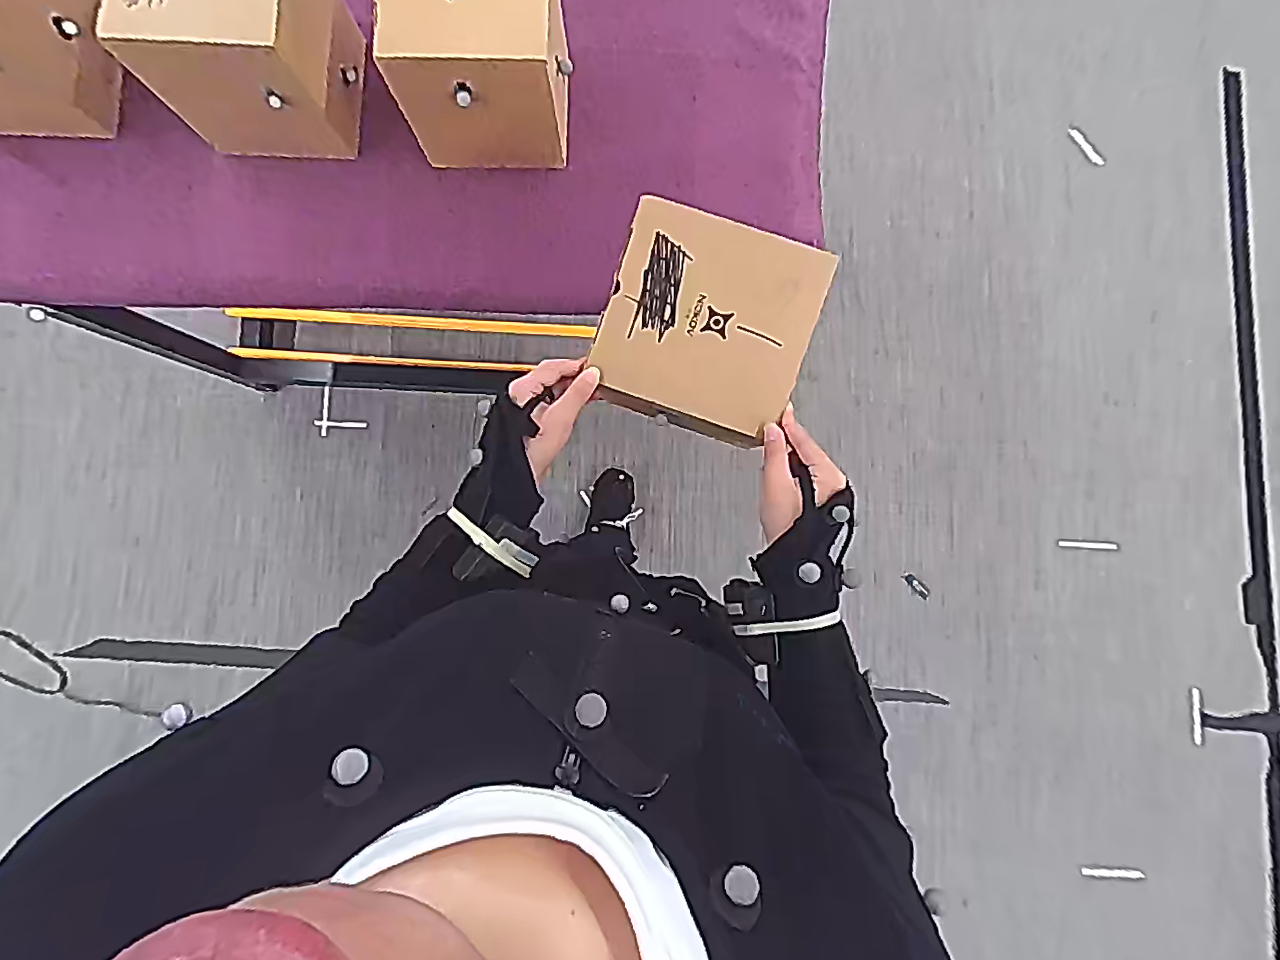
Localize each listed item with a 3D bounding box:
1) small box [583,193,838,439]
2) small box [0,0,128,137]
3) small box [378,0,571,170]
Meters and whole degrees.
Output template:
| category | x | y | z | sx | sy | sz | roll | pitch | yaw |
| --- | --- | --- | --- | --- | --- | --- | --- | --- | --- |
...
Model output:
| category | x | y | z | sx | sy | sz | roll | pitch | yaw |
| --- | --- | --- | --- | --- | --- | --- | --- | --- | --- |
| small box | 0.063 | -0.143 | 0.537 | 0.179 | 0.176 | 0.168 | 19 | 93 | 3 |
| small box | -0.743 | -0.524 | 0.614 | 0.179 | 0.176 | 0.168 | 0 | 85 | -3 |
| small box | -0.175 | -0.488 | 0.626 | 0.179 | 0.176 | 0.168 | 0 | 85 | 0 |
